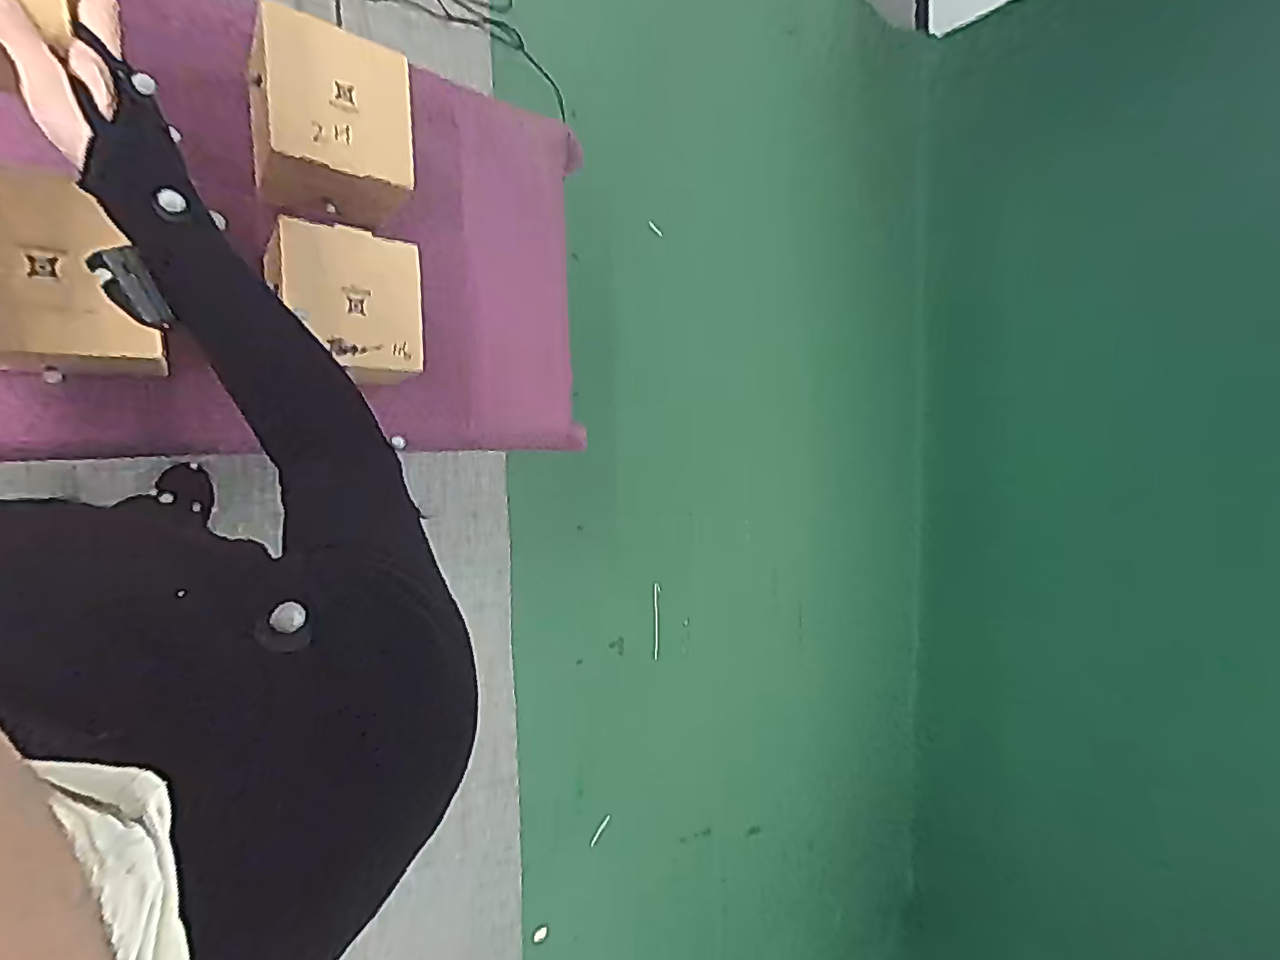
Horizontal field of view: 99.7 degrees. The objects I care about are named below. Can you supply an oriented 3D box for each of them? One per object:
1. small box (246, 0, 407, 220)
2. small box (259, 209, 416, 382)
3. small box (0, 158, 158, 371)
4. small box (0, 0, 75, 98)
[{"bbox_3d":[-0.431,-0.488,0.740,0.168,0.176,0.179,-4,95,-39],"label":"small box"},{"bbox_3d":[-0.425,-0.241,0.757,0.168,0.176,0.179,-3,93,-39],"label":"small box"},{"bbox_3d":[-0.639,-0.220,0.583,0.168,0.176,0.179,-5,96,-39],"label":"small box"},{"bbox_3d":[-0.511,-0.390,0.357,0.168,0.176,0.179,-10,115,-40],"label":"small box"}]
